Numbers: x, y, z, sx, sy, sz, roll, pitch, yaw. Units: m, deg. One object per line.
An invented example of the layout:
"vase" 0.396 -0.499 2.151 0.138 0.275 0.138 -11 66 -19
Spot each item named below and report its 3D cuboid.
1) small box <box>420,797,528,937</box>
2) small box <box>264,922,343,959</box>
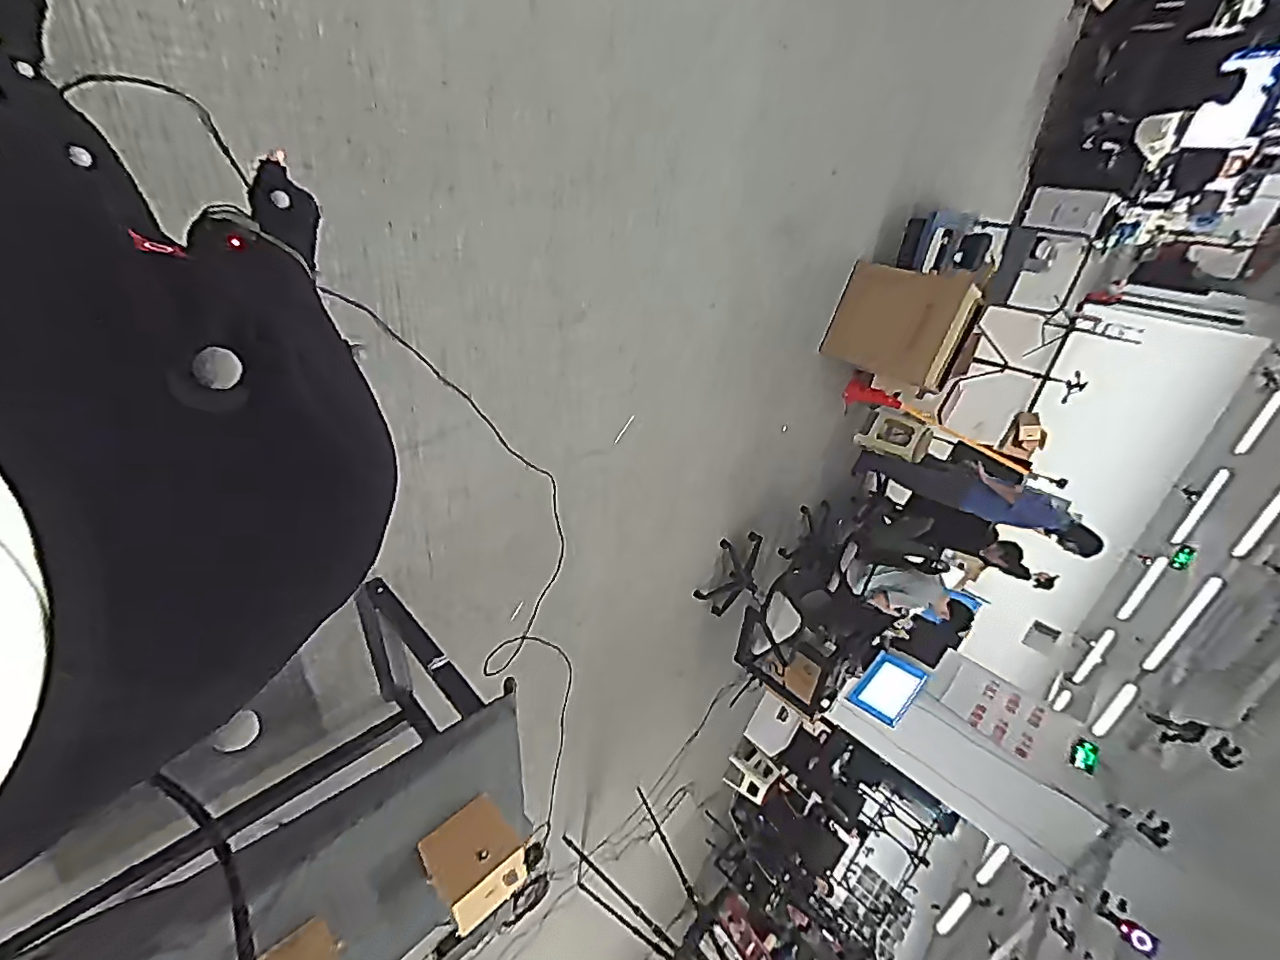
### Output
"small box" -0.385 0.896 1.268 0.179 0.176 0.168 -26 132 -37
"small box" -0.647 1.002 1.029 0.168 0.176 0.179 -22 129 -40
